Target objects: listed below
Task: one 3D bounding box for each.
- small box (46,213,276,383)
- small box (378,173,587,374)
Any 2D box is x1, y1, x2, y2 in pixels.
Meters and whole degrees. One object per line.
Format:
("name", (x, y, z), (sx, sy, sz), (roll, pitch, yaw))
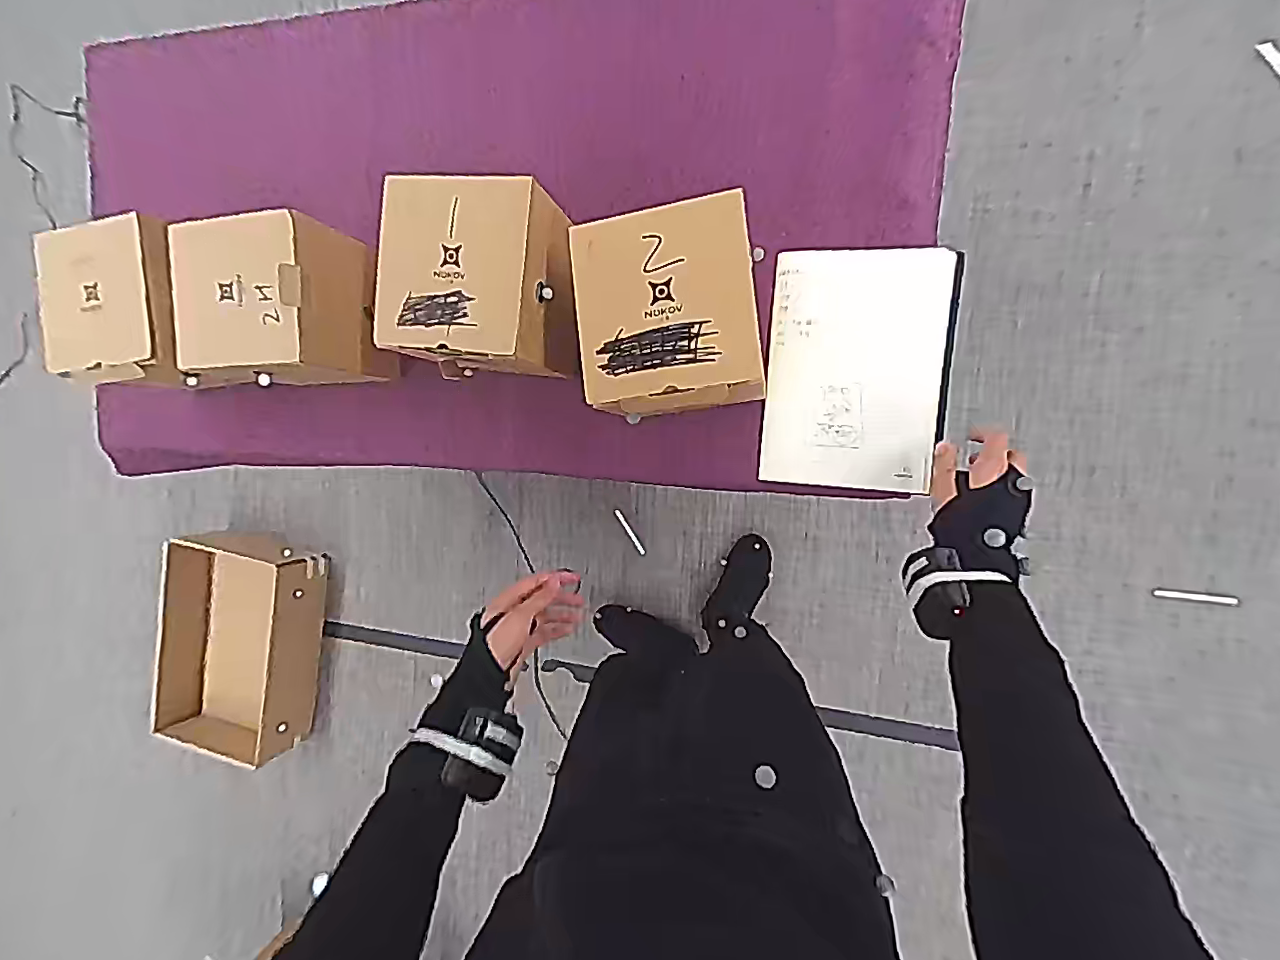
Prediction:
("small box", (-0.630, -0.229, 0.731), (0.168, 0.176, 0.179), (-3, 92, 13))
("small box", (-0.169, -0.223, 0.622), (0.168, 0.176, 0.179), (8, 95, 12))
